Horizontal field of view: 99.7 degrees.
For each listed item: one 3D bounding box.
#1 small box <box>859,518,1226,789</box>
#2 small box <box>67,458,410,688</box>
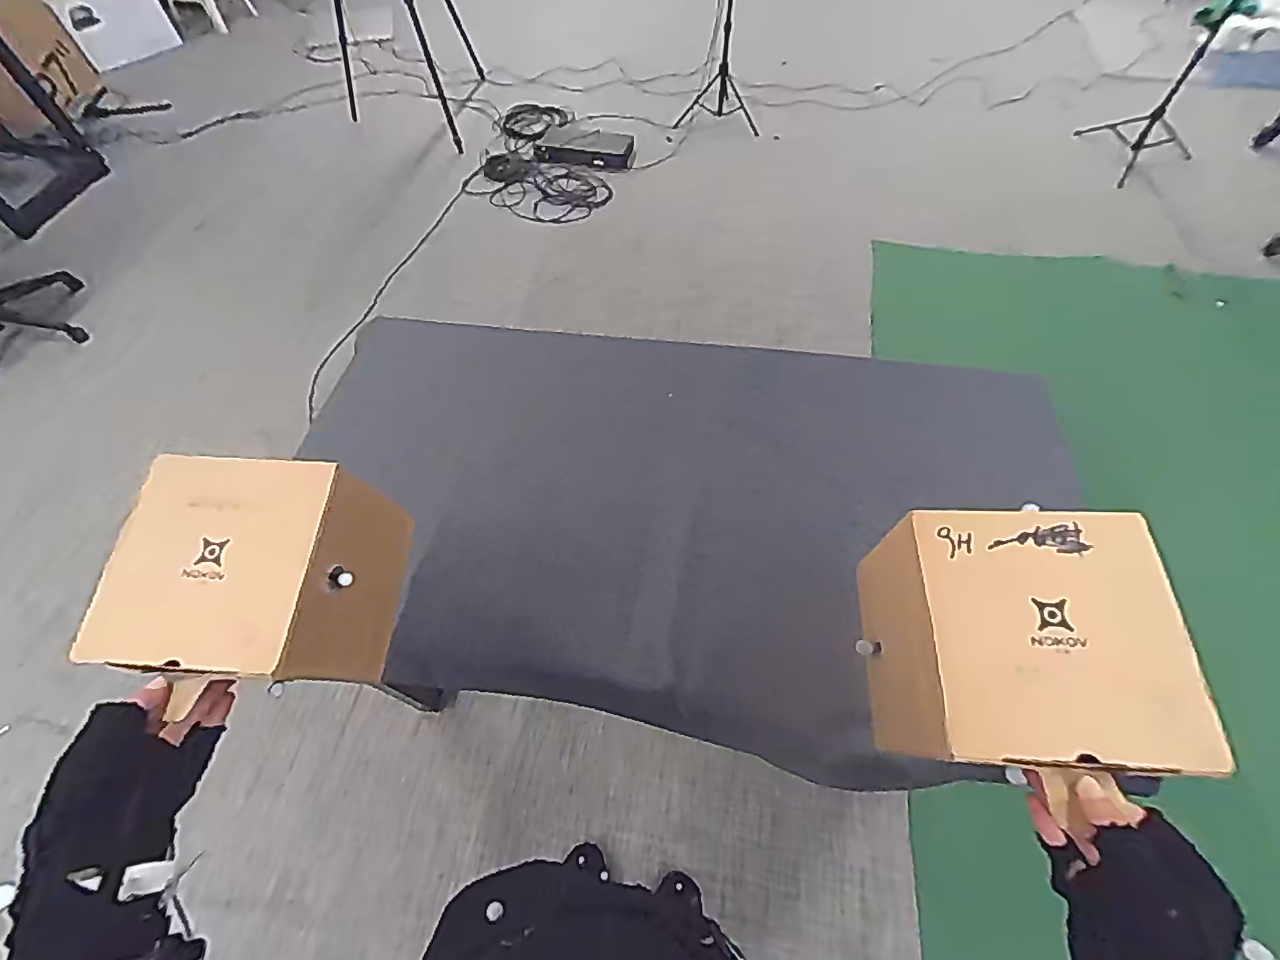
[{"bbox_3d":[0.293,0.141,0.447,0.168,0.176,0.179,0,66,6],"label":"small box"},{"bbox_3d":[-0.339,0.096,0.503,0.168,0.176,0.179,3,67,2],"label":"small box"}]
